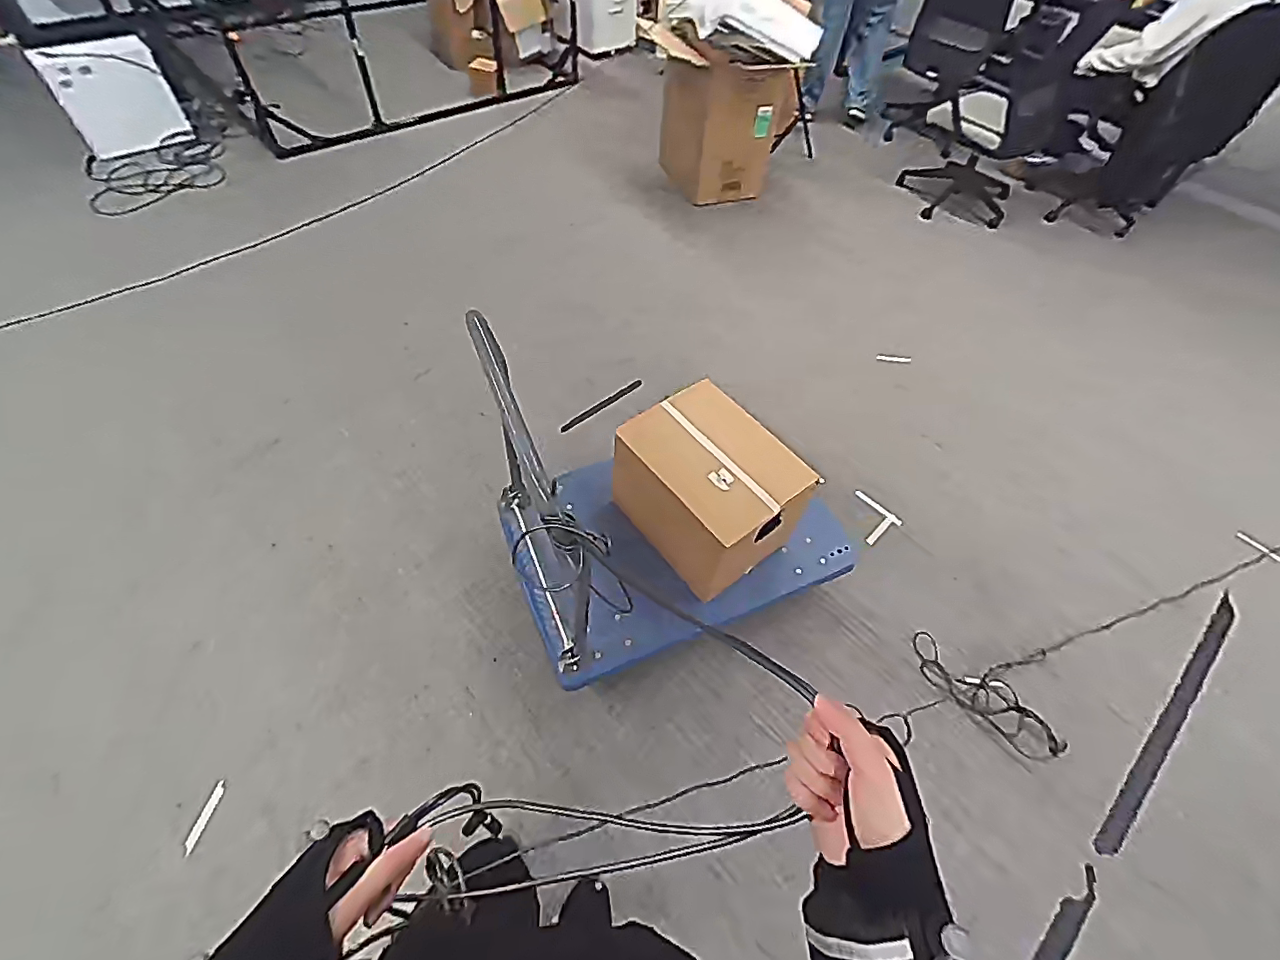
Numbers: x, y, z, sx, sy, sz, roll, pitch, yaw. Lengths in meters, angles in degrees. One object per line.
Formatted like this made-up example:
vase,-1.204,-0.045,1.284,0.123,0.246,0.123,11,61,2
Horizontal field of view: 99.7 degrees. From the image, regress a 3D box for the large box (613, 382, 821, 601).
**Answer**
large box,0.171,0.028,1.397,0.320,0.320,0.408,-32,64,-23
